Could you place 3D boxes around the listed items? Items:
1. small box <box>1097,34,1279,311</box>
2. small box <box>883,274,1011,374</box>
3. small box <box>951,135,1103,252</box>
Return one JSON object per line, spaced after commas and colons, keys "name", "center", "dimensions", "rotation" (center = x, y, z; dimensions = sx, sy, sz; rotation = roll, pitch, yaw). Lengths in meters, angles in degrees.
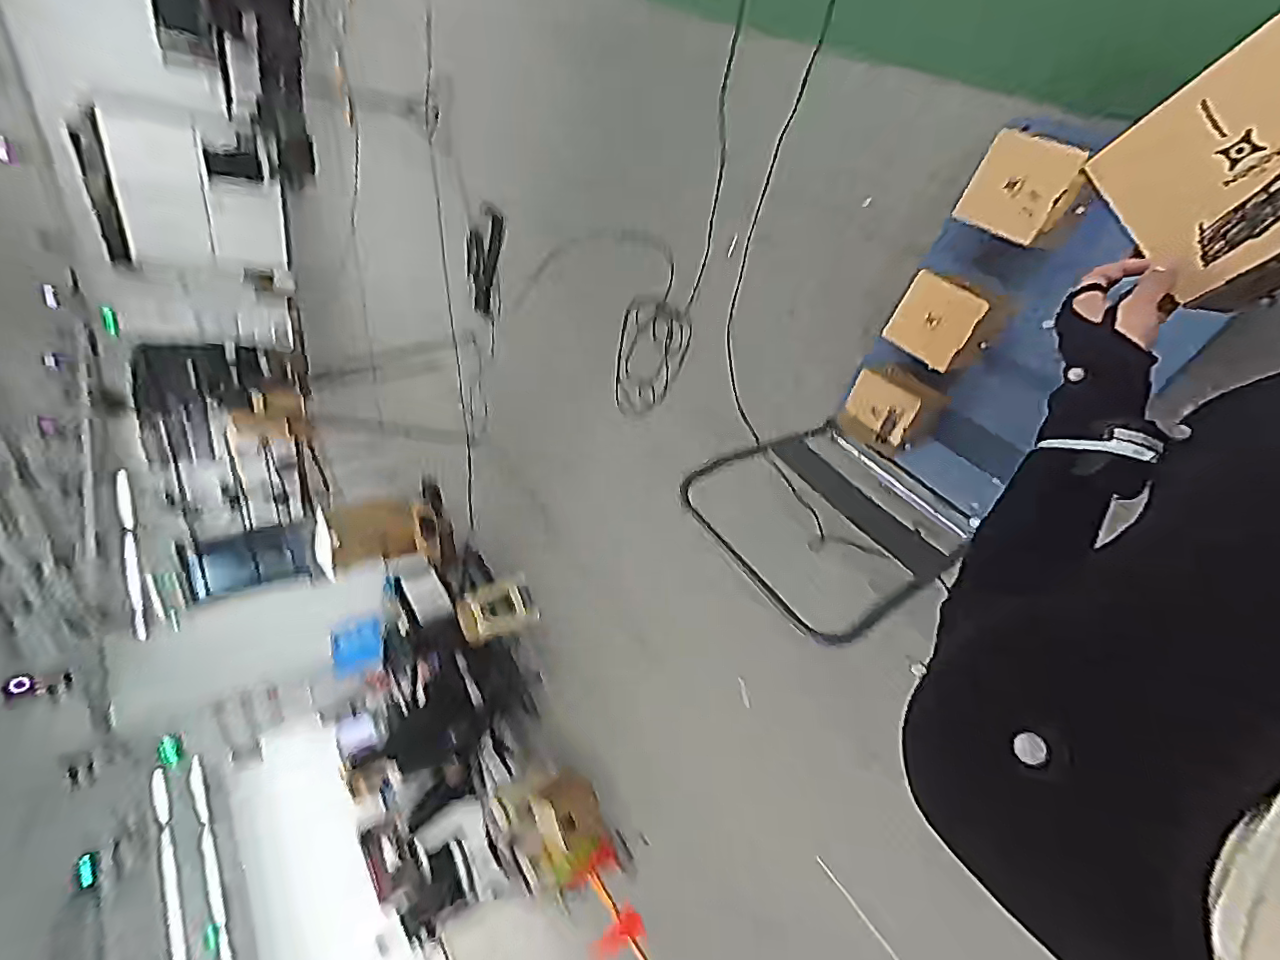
{"name": "small box", "center": [0.595, -0.278, 0.508], "dimensions": [0.168, 0.176, 0.179], "rotation": [-39, 64, 53]}
{"name": "small box", "center": [0.726, -0.368, 1.281], "dimensions": [0.179, 0.176, 0.168], "rotation": [46, 132, 31]}
{"name": "small box", "center": [0.800, -0.584, 1.119], "dimensions": [0.179, 0.176, 0.168], "rotation": [46, 134, 32]}
